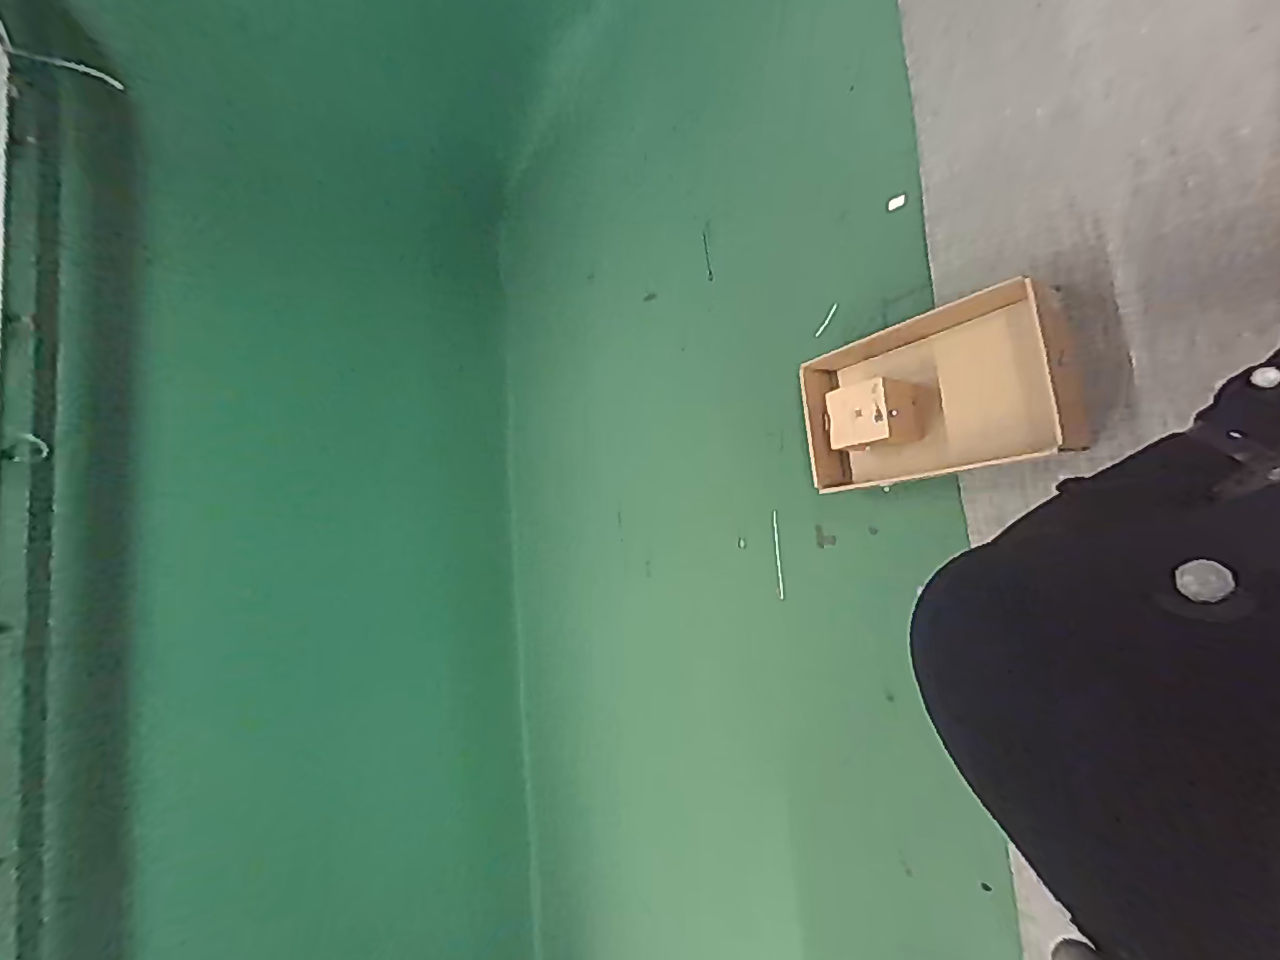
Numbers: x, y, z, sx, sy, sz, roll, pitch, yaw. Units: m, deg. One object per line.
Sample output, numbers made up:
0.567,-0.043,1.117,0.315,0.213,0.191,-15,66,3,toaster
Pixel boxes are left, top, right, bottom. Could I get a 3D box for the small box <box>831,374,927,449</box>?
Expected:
0.661,-0.182,1.501,0.179,0.176,0.168,-14,78,54,small box
